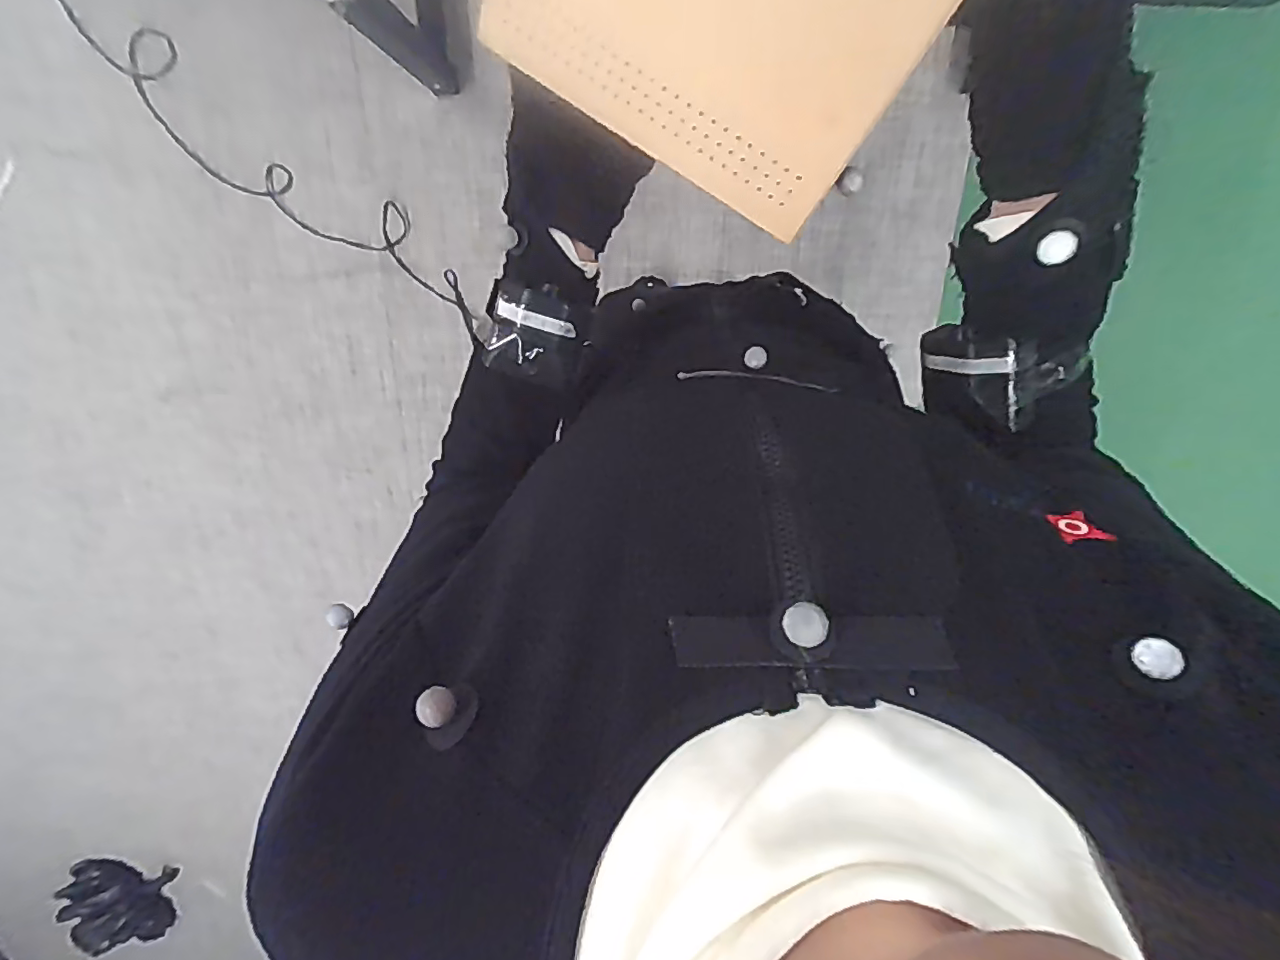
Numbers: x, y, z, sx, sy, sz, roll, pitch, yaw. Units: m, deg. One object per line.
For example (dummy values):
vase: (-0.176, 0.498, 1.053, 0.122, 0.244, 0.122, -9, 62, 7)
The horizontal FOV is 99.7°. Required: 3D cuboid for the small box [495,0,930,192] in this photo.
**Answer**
small box: (0.057, -0.267, 0.255, 0.179, 0.168, 0.176, 31, 139, -3)
